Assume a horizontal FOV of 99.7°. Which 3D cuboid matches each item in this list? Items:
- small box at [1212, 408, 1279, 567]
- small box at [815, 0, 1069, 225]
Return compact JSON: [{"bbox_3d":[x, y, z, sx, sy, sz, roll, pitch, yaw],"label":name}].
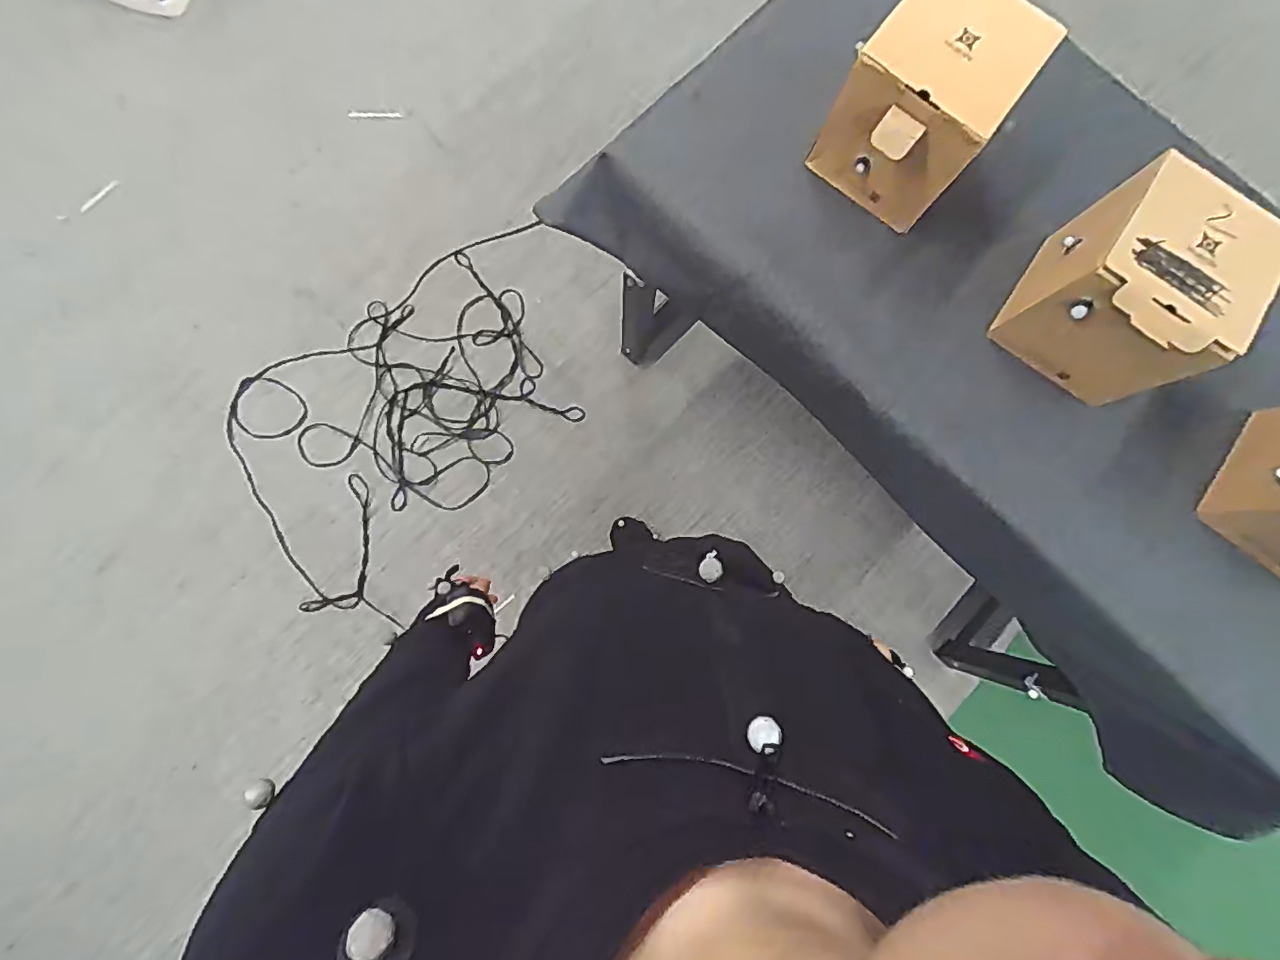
[{"bbox_3d":[0.823,0.012,0.609,0.168,0.176,0.179,37,81,1],"label":"small box"},{"bbox_3d":[0.342,-0.456,0.649,0.168,0.176,0.179,37,82,2],"label":"small box"}]
